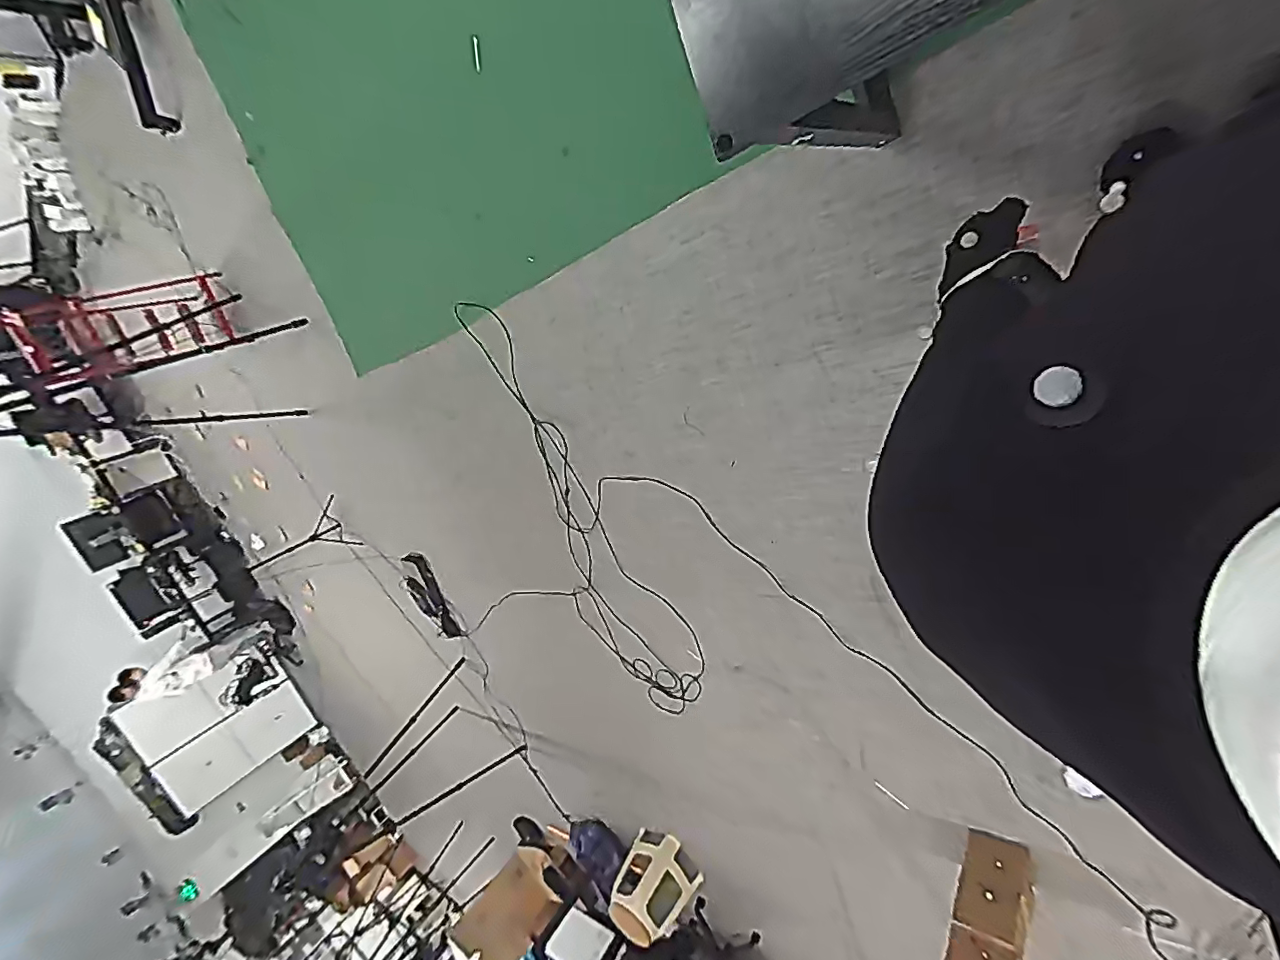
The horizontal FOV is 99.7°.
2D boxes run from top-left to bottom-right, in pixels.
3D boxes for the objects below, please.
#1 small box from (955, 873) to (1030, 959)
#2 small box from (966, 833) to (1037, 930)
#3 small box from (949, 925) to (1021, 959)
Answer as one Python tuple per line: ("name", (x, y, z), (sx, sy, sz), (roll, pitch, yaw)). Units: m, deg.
("small box", (1.097, 1.385, 1.677), (0.168, 0.176, 0.179), (-4, 112, 41))
("small box", (1.198, 1.316, 1.788), (0.179, 0.176, 0.168), (-5, 111, 41))
("small box", (1.006, 1.461, 1.566), (0.168, 0.176, 0.179), (-4, 111, 42))
